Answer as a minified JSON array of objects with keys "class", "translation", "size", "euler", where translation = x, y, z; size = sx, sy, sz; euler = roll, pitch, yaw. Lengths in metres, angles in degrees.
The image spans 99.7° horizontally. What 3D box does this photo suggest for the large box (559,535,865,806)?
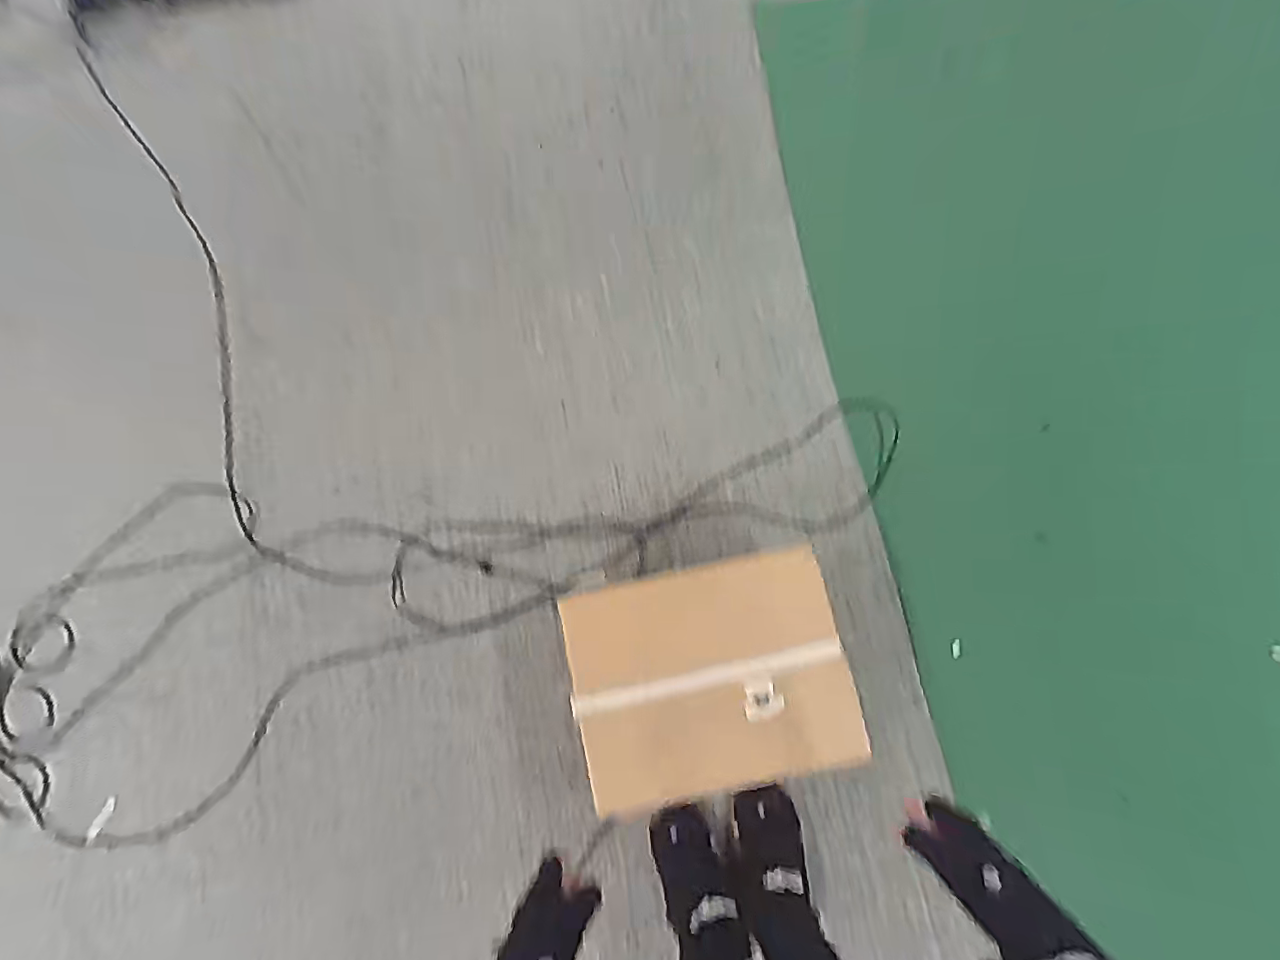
[{"class":"large box","translation":[0.103,0.305,0.948],"size":[0.408,0.320,0.320],"euler":[-13,79,-2]}]
